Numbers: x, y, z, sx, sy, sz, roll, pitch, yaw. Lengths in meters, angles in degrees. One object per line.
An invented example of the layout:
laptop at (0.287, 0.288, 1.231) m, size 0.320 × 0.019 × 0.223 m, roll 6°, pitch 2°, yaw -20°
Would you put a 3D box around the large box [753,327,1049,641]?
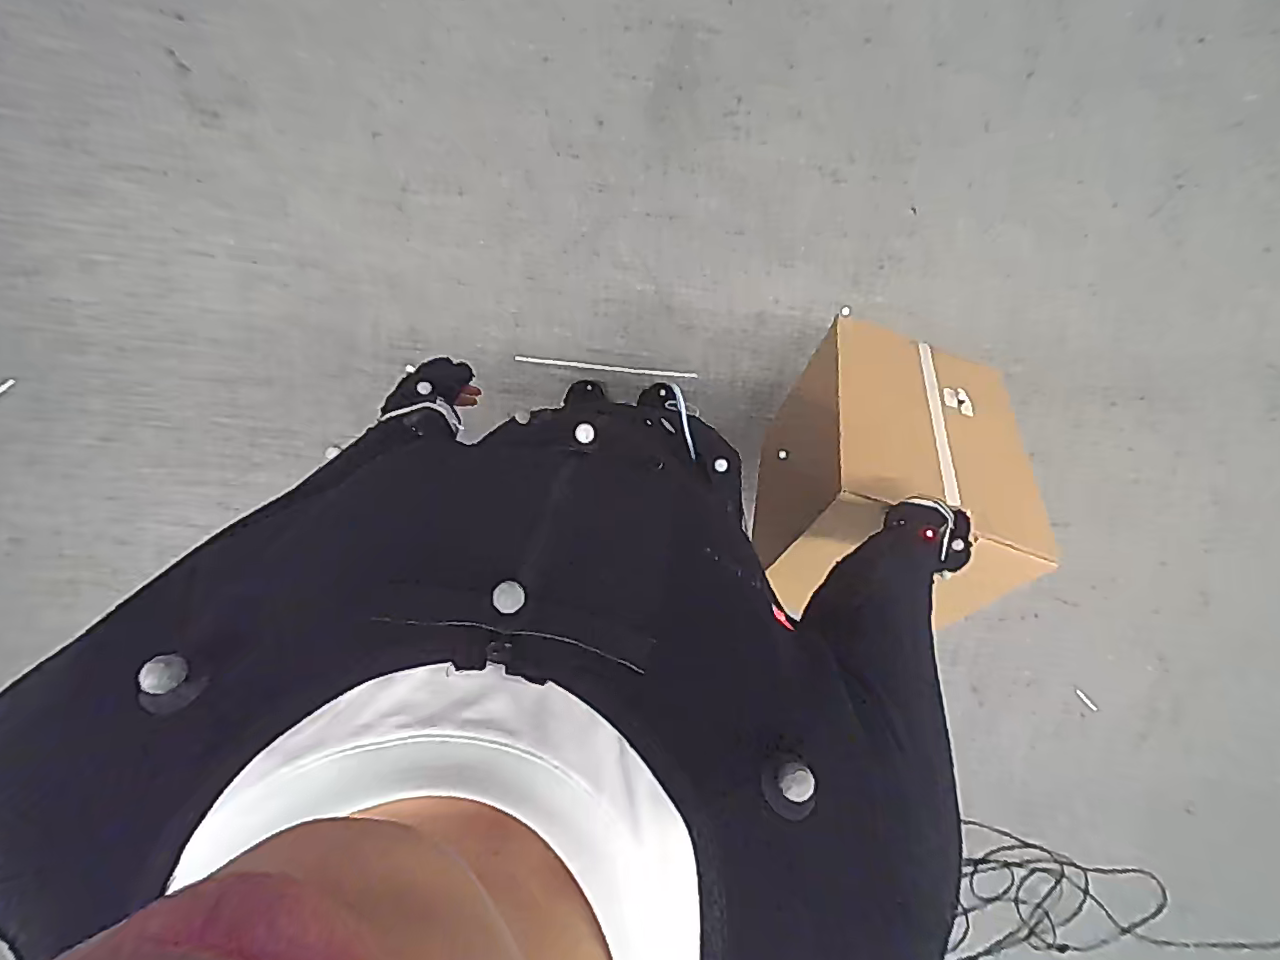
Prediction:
large box at (0.409, 0.009, 0.954) m, size 0.320 × 0.408 × 0.320 m, roll 19°, pitch 139°, yaw -3°
